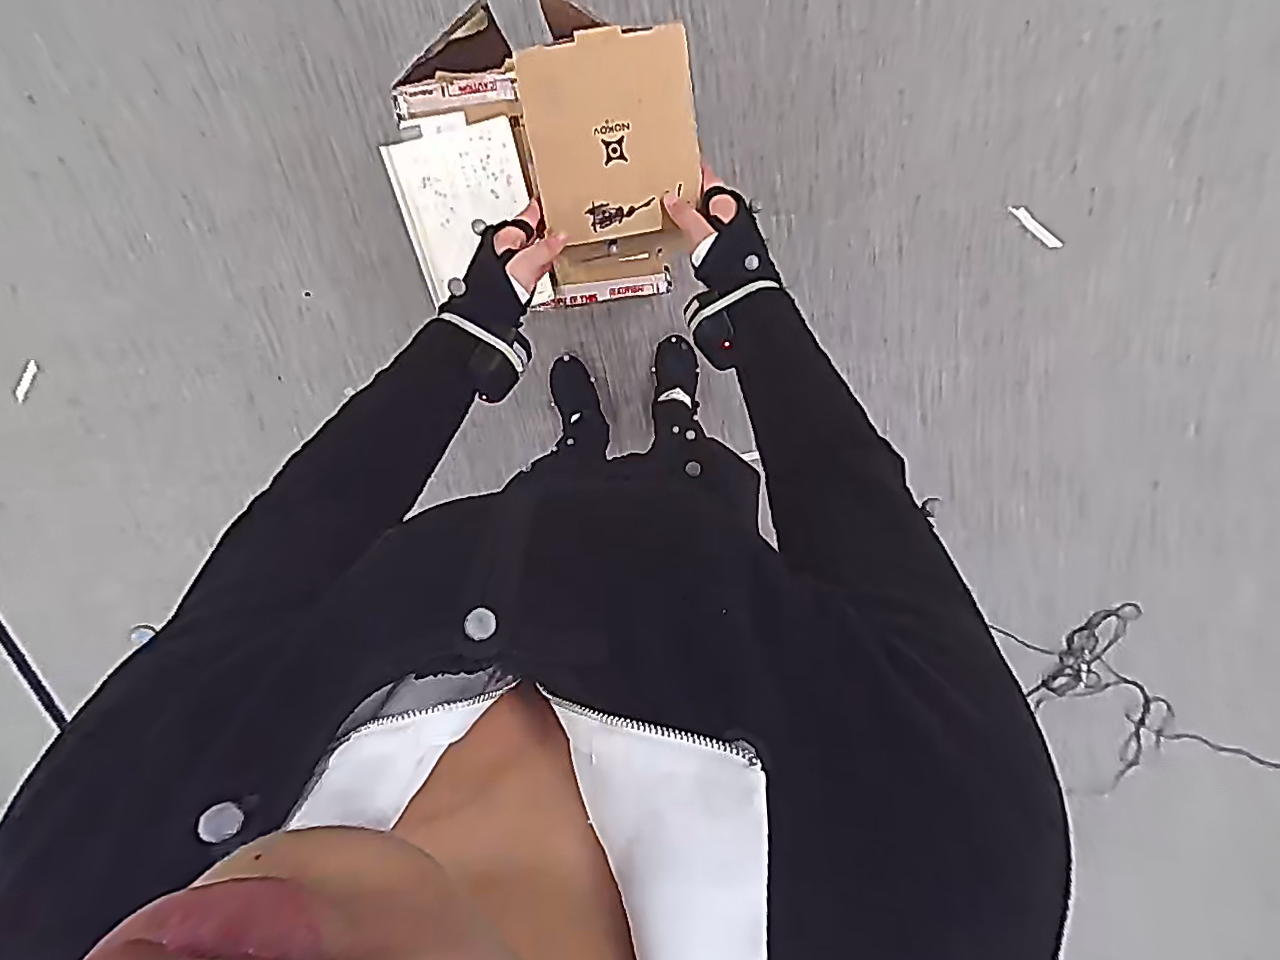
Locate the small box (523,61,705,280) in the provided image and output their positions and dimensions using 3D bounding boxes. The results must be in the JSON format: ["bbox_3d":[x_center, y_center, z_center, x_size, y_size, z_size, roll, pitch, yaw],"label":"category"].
[{"bbox_3d":[-0.028,-0.336,0.623,0.168,0.176,0.179,-9,109,0],"label":"small box"}]
